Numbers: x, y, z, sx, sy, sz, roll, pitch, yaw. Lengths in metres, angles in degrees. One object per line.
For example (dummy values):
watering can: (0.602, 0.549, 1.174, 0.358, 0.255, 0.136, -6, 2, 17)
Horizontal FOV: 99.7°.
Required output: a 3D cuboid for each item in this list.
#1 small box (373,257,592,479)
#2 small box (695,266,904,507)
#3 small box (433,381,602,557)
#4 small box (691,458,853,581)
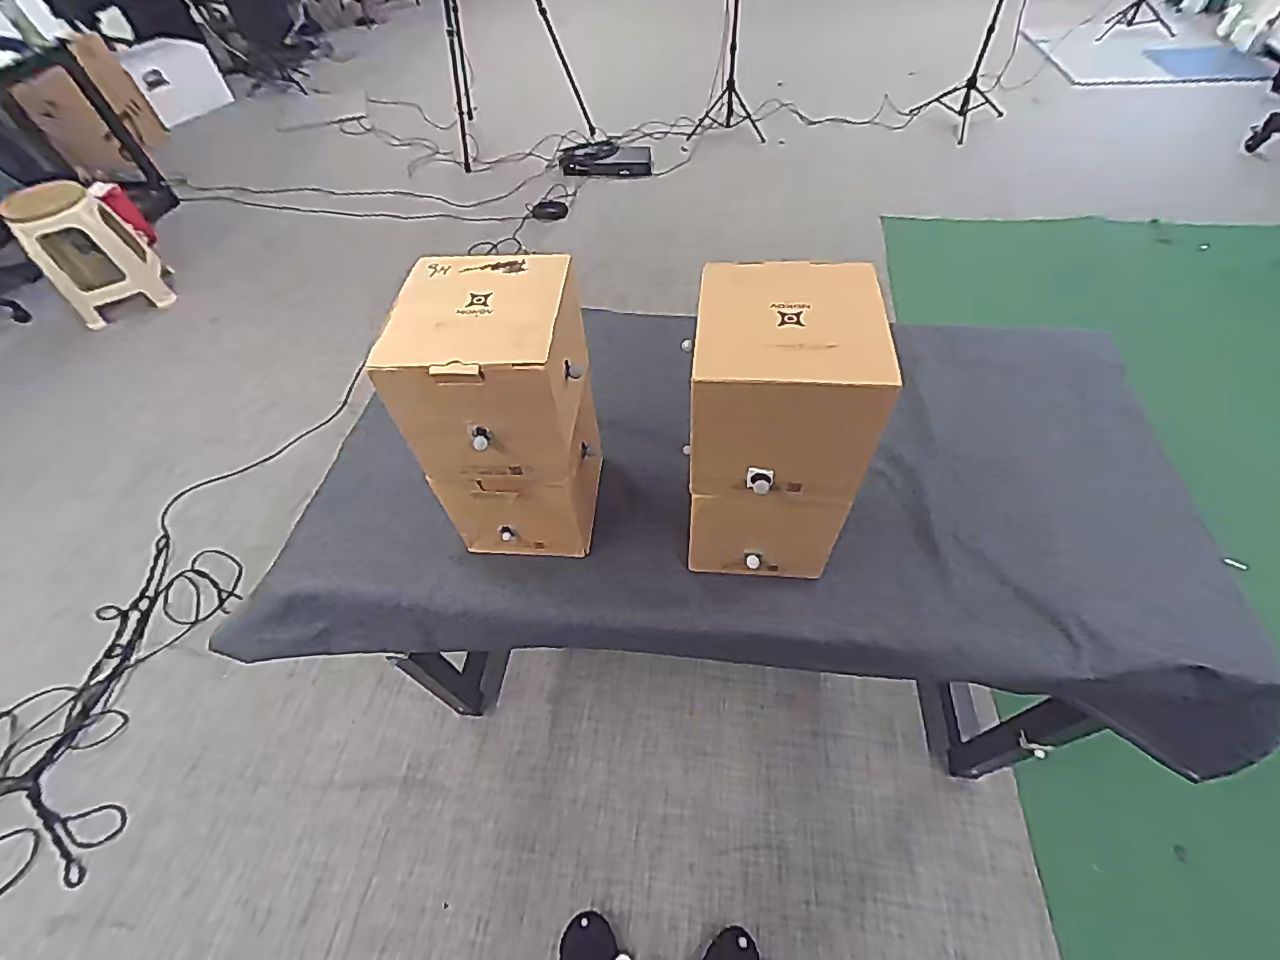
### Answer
small box: (-0.148, -0.115, 0.585, 0.168, 0.176, 0.179, 1, 53, 4)
small box: (0.143, -0.094, 0.547, 0.168, 0.176, 0.179, 2, 53, 7)
small box: (-0.145, -0.018, 0.717, 0.168, 0.176, 0.179, 1, 53, 5)
small box: (0.151, 0.004, 0.676, 0.168, 0.176, 0.179, 3, 52, 6)
